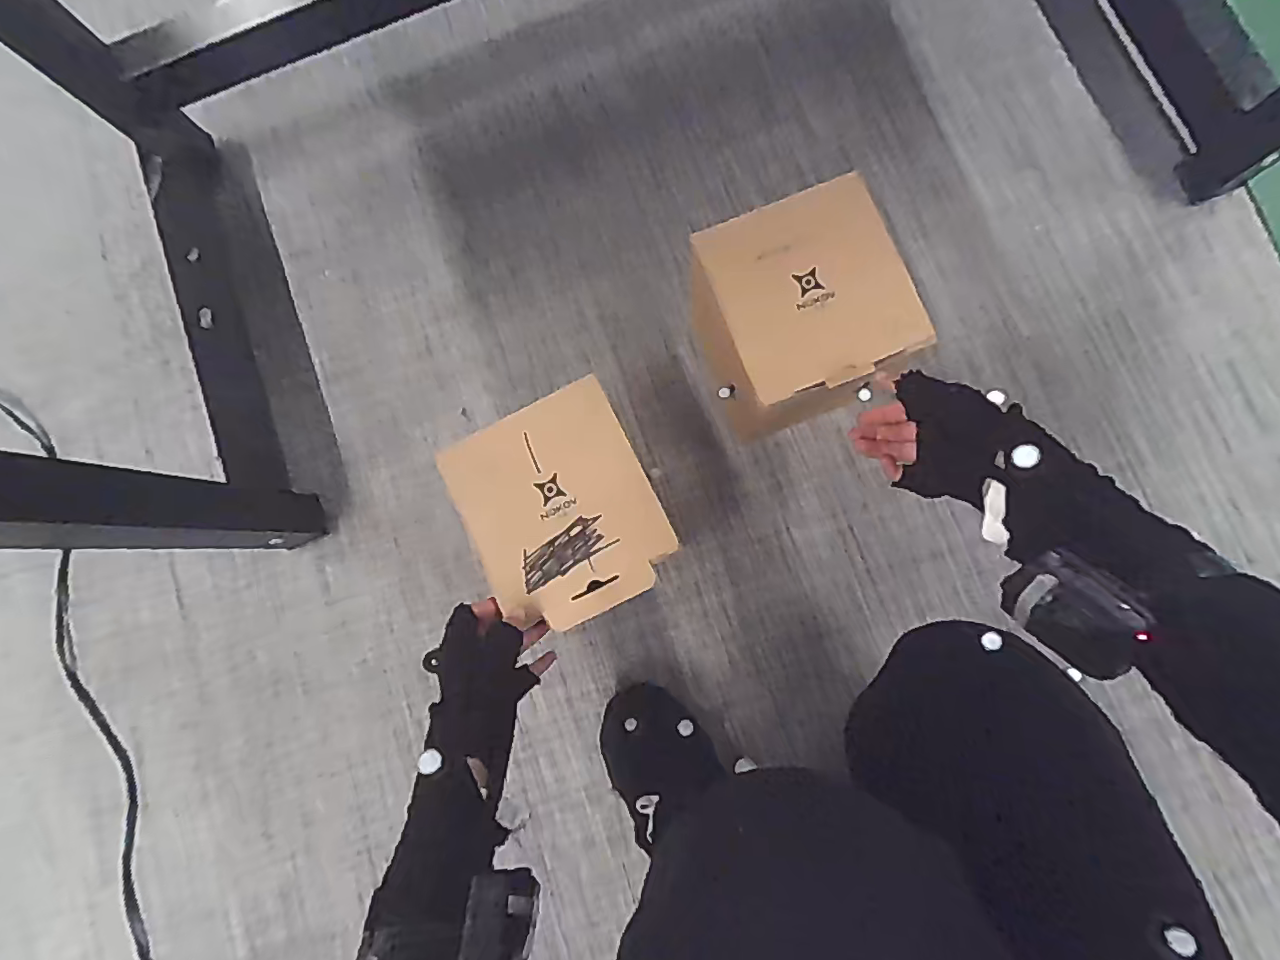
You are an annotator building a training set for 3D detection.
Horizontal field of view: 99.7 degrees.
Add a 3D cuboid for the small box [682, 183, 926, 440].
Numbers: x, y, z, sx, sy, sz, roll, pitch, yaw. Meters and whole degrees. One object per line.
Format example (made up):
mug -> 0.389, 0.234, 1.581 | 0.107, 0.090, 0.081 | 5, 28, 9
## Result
small box -> 0.151, -0.153, 0.562 | 0.168, 0.176, 0.179 | -22, 80, 0
